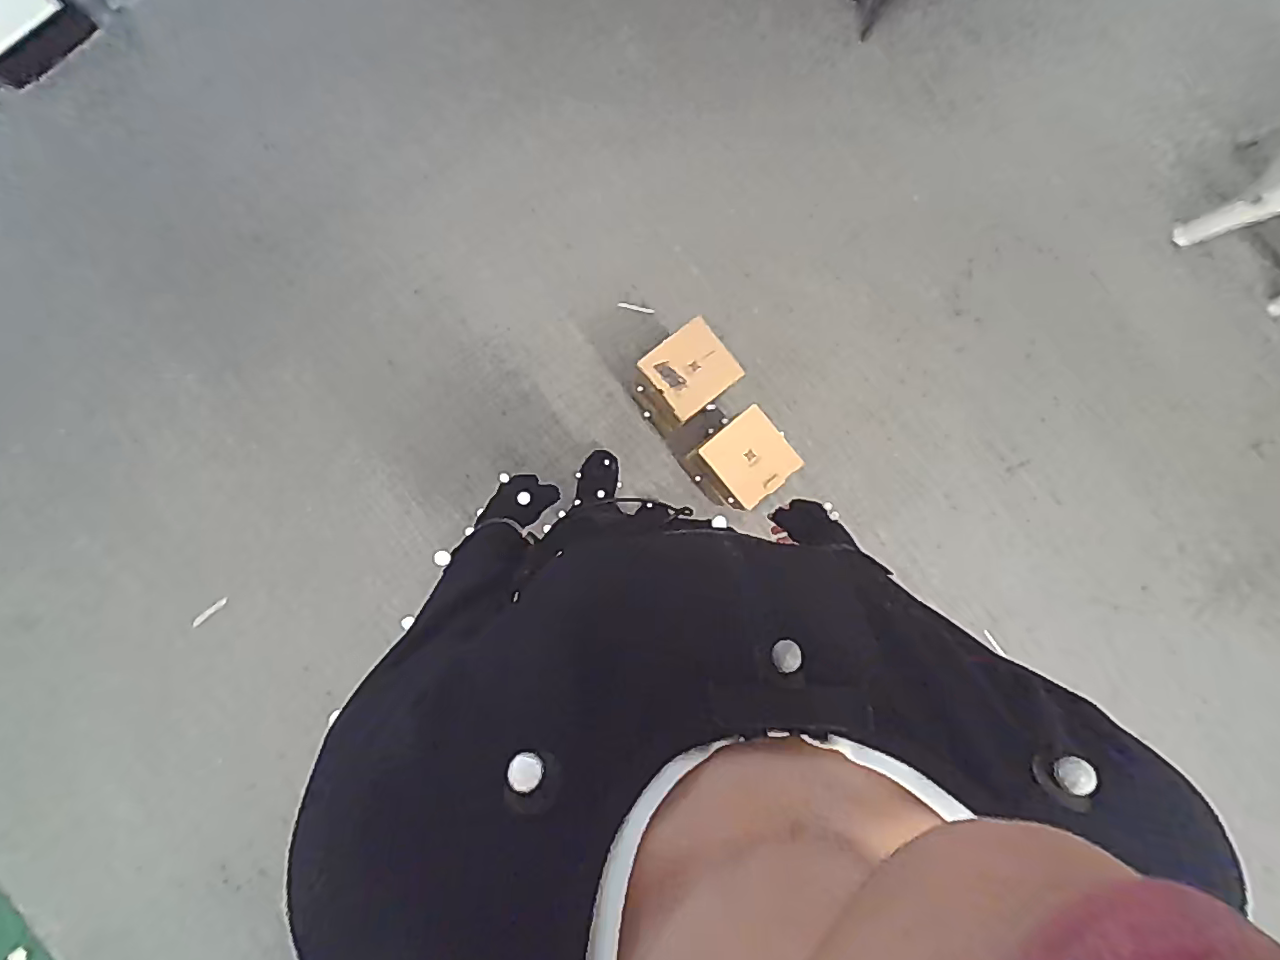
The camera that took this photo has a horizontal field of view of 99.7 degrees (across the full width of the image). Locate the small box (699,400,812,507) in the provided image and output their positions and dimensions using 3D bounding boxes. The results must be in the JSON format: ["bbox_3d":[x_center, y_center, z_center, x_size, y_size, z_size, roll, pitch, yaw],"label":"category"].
[{"bbox_3d":[0.254,-0.055,1.242,0.168,0.176,0.179,-40,91,-1],"label":"small box"}]

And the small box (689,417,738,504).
[{"bbox_3d":[0.244,-0.055,1.406,0.179,0.176,0.168,-39,90,-1],"label":"small box"}]
